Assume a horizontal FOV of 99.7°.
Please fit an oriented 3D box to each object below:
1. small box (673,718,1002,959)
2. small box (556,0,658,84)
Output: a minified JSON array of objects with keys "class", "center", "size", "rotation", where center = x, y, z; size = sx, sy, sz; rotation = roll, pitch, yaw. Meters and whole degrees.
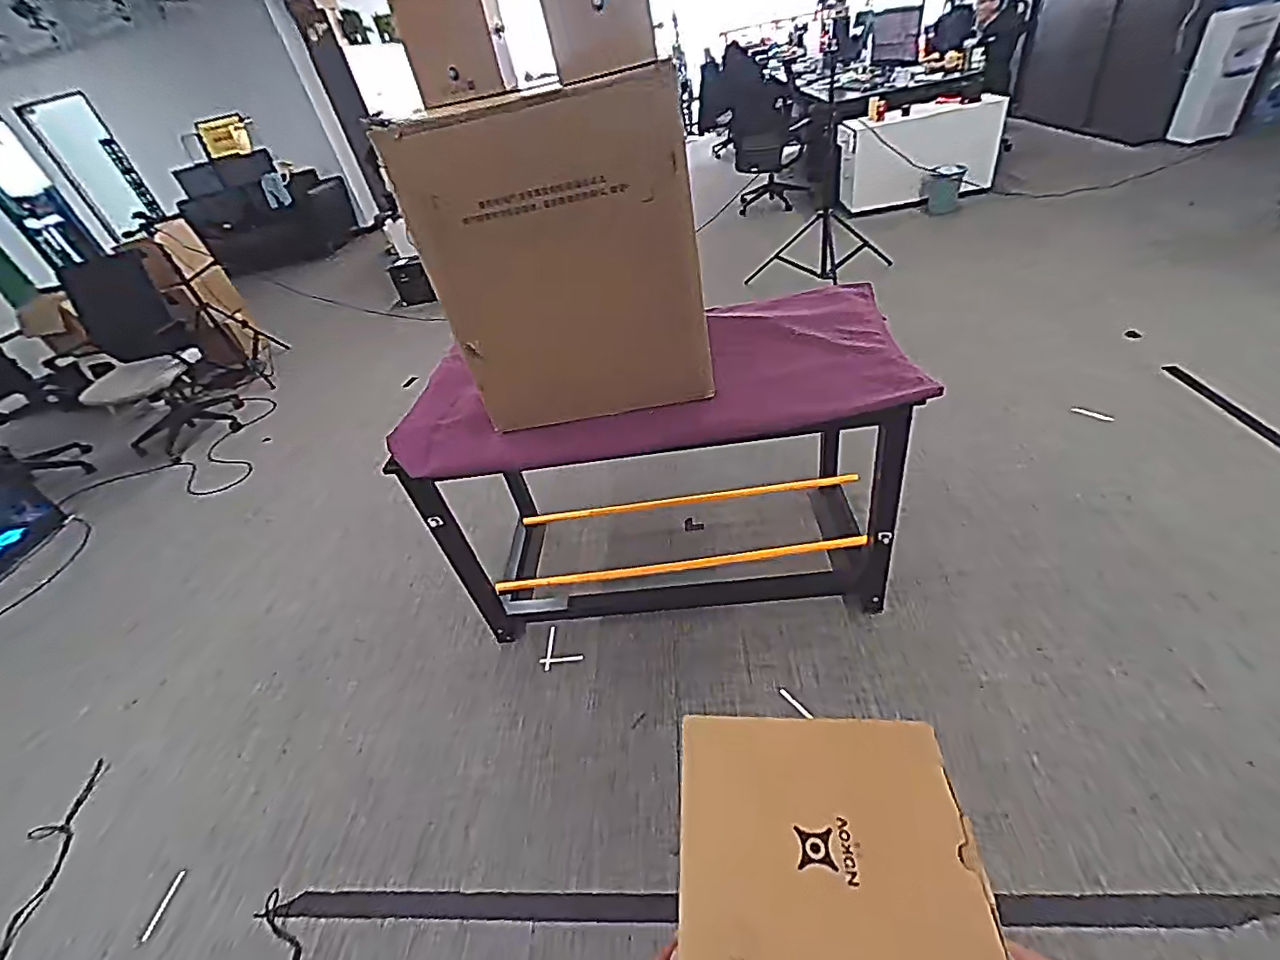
[{"class":"small box","center":[0.119,0.291,0.382],"size":[0.179,0.176,0.168],"rotation":[-2,38,7]},{"class":"small box","center":[-0.060,-0.882,1.041],"size":[0.168,0.176,0.179],"rotation":[-8,39,9]}]
